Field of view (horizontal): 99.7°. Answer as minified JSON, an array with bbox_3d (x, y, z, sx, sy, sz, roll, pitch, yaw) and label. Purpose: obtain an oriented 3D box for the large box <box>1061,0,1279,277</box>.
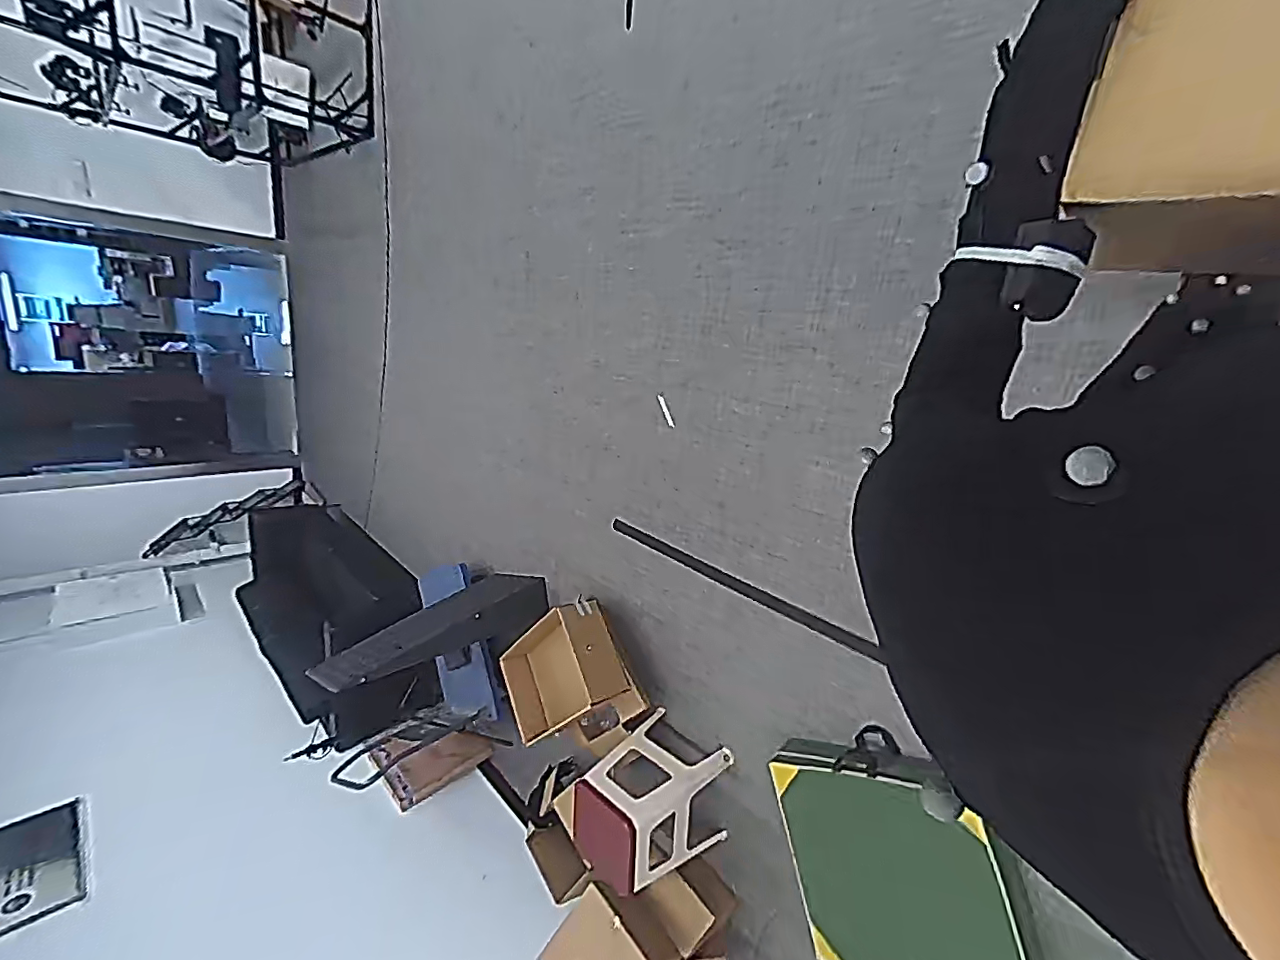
[{"bbox_3d":[0.582,-0.324,0.367,0.408,0.320,0.320,19,110,39],"label":"large box"}]
